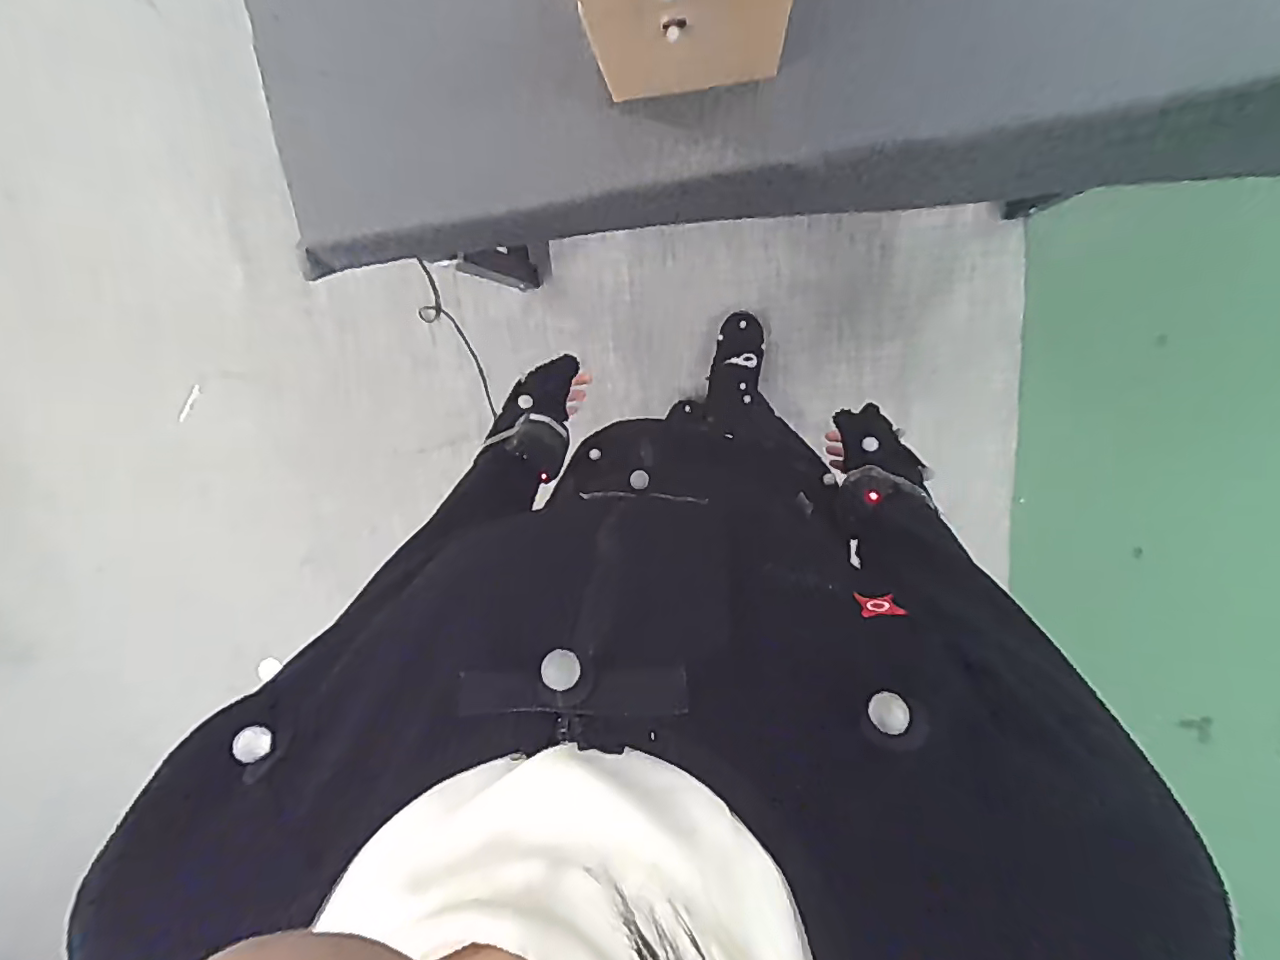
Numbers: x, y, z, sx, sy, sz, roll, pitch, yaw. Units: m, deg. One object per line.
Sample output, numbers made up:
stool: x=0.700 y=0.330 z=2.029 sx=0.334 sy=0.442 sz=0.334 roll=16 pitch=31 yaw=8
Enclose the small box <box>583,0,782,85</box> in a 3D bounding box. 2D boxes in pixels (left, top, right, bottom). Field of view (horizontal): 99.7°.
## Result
small box: x=0.038 y=-0.486 z=0.480 sx=0.179 sy=0.176 sz=0.168 roll=-2 pitch=104 yaw=8
